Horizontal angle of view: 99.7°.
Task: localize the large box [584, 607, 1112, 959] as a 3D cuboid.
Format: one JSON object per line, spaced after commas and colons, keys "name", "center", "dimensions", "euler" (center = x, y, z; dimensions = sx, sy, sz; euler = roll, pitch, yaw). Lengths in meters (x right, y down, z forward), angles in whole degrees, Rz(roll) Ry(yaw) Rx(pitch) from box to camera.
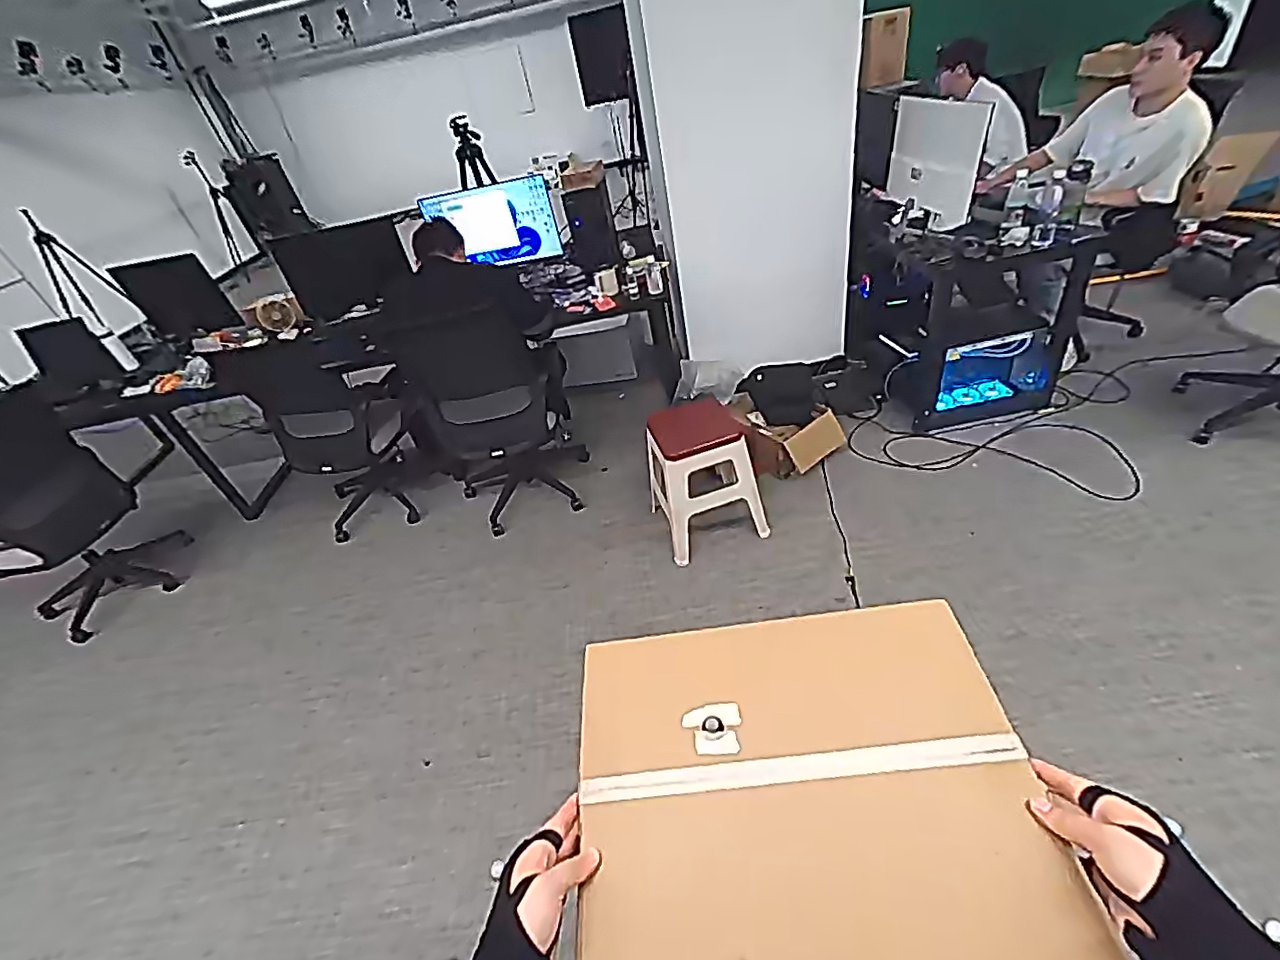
{"name": "large box", "center": [0.172, 0.384, 0.615], "dimensions": [0.408, 0.320, 0.320], "euler": [-10, 43, 6]}
